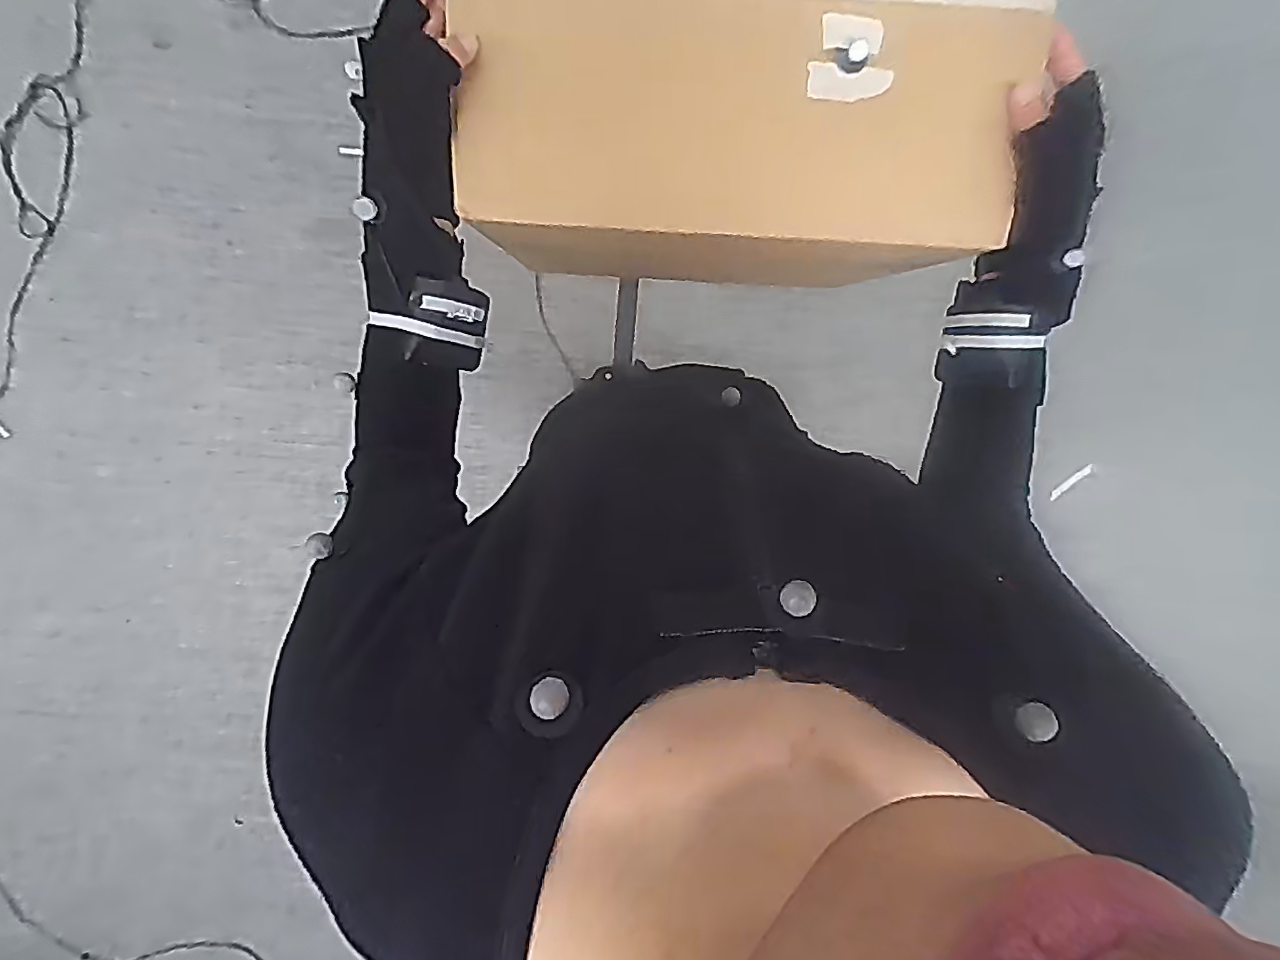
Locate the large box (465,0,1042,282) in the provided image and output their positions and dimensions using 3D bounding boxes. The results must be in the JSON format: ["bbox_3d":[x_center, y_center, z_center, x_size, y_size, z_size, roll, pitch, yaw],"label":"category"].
[{"bbox_3d":[0.071,-0.370,0.508,0.408,0.320,0.320,1,105,-4],"label":"large box"}]
